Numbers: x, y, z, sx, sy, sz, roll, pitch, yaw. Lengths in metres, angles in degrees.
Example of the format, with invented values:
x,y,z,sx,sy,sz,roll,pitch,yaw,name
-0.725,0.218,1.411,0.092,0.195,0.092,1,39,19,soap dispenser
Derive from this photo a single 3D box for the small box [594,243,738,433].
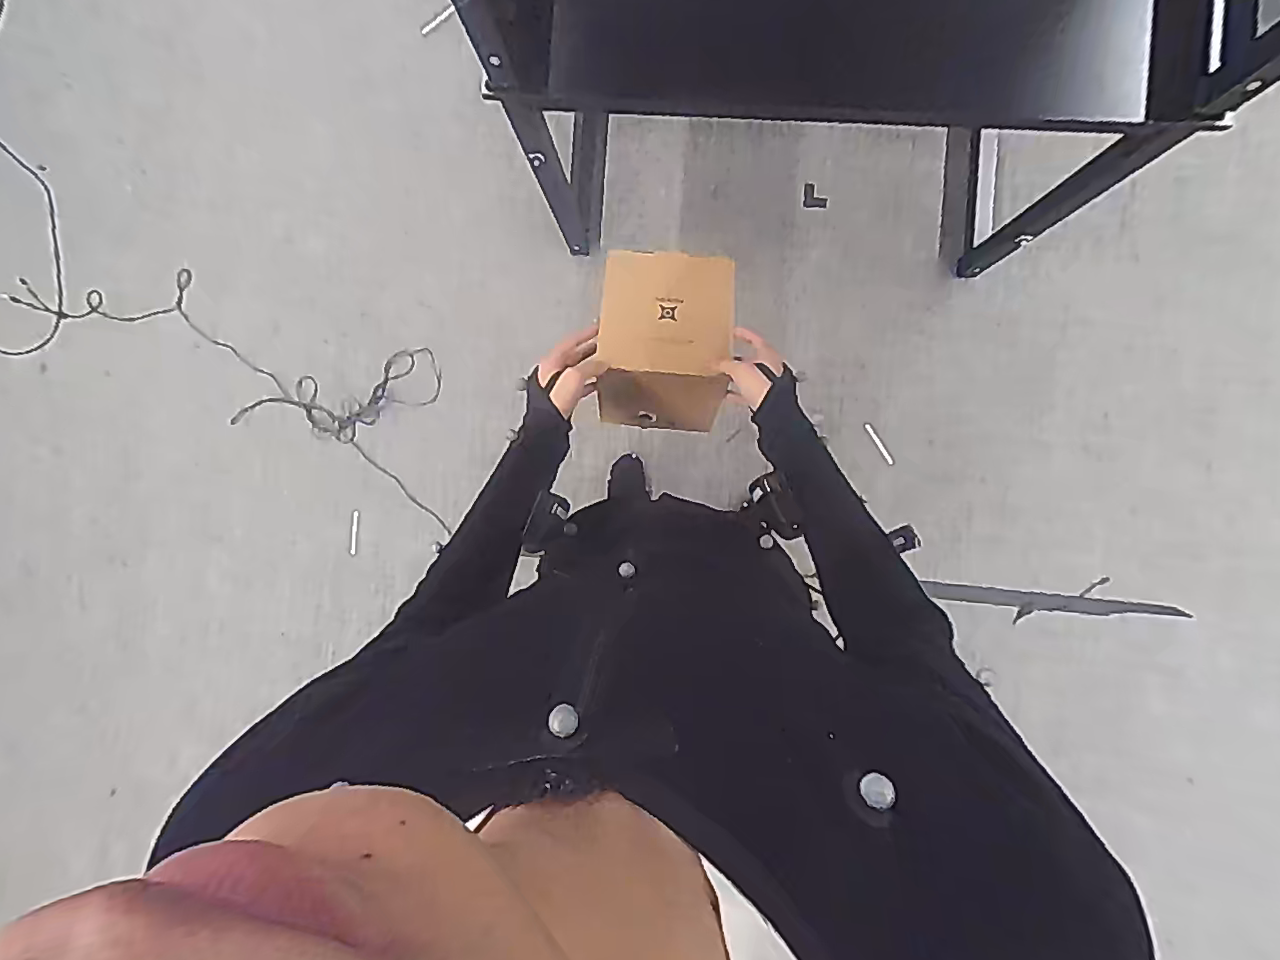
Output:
x,y,z,sx,sy,sz,roll,pitch,yaw,name
0.031,-0.182,0.726,0.168,0.176,0.179,5,72,0,small box
